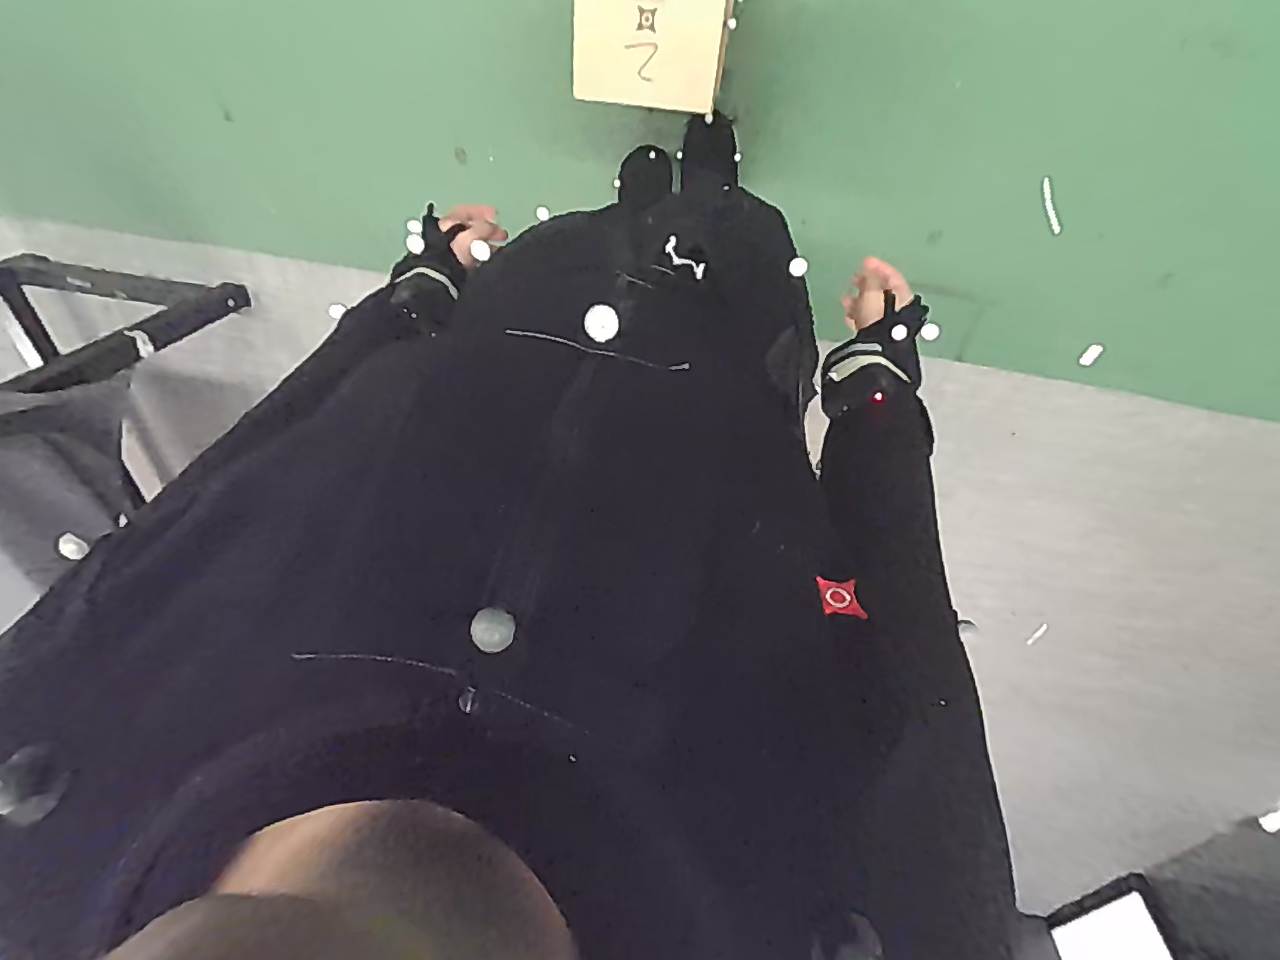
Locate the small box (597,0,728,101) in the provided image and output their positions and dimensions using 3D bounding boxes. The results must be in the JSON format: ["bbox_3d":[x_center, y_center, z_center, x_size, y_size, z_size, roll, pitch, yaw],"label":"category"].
[{"bbox_3d":[0.037,-0.660,0.771,0.168,0.176,0.179,8,127,2],"label":"small box"}]
